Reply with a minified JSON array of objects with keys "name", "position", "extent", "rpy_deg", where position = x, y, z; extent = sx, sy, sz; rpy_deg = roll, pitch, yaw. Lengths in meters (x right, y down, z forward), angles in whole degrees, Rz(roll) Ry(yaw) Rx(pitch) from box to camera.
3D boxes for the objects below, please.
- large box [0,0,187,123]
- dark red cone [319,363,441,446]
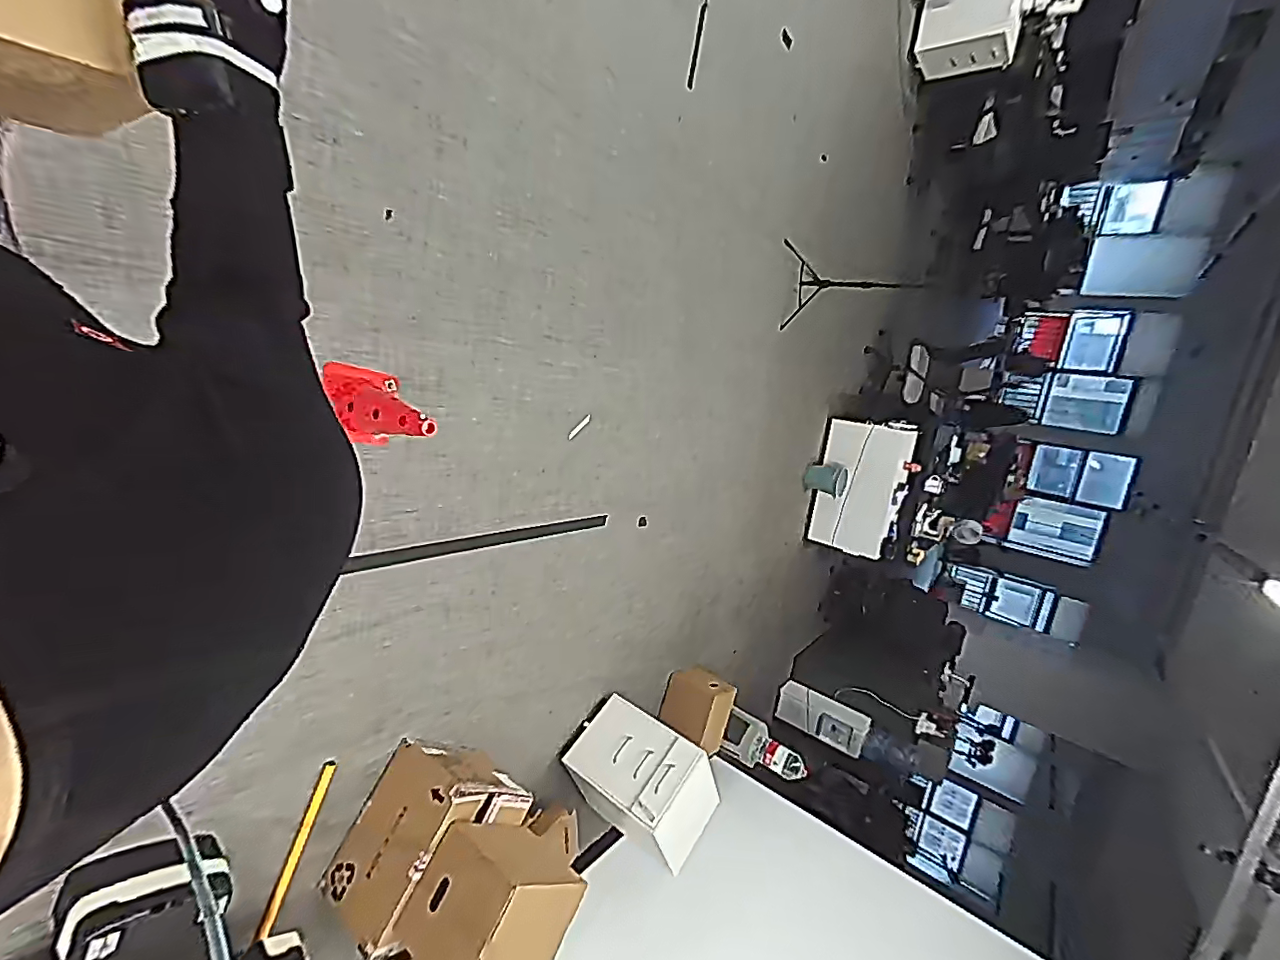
[{"name":"large box","position":[-0.547,-0.434,0.271],"extent":[0.408,0.320,0.320],"rpy_deg":[-15,118,-52]},{"name":"dark red cone","position":[-0.611,-0.155,1.334],"extent":[0.201,0.394,0.202],"rpy_deg":[5,99,-52]}]
